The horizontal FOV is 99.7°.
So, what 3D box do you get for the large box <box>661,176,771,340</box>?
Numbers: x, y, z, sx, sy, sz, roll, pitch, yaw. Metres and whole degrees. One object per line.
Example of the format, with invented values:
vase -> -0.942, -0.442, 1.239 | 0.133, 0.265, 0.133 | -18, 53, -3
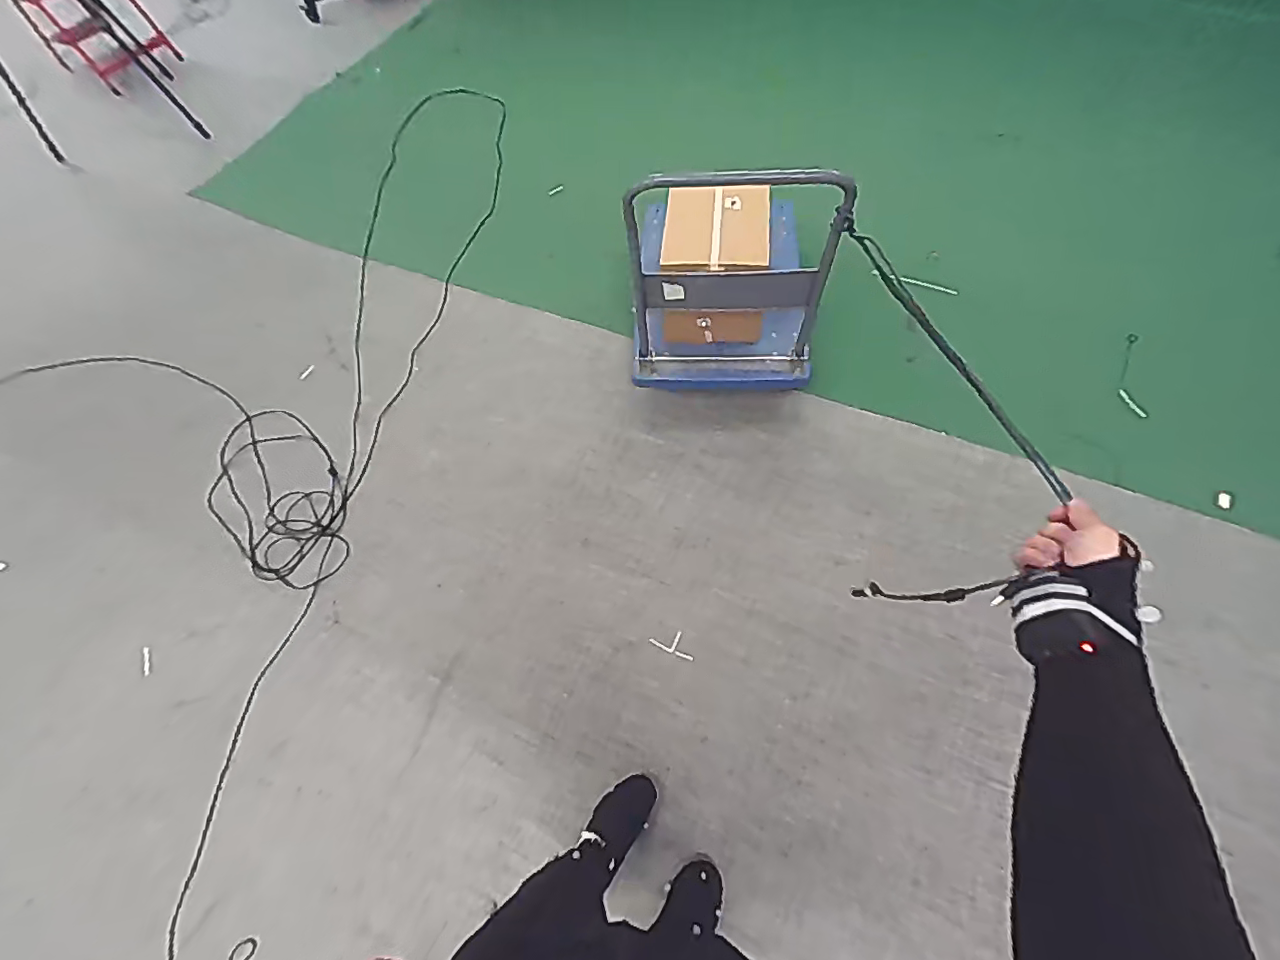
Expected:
large box -> 0.244, -0.701, 1.732 | 0.320, 0.320, 0.408 | 4, 62, 7
